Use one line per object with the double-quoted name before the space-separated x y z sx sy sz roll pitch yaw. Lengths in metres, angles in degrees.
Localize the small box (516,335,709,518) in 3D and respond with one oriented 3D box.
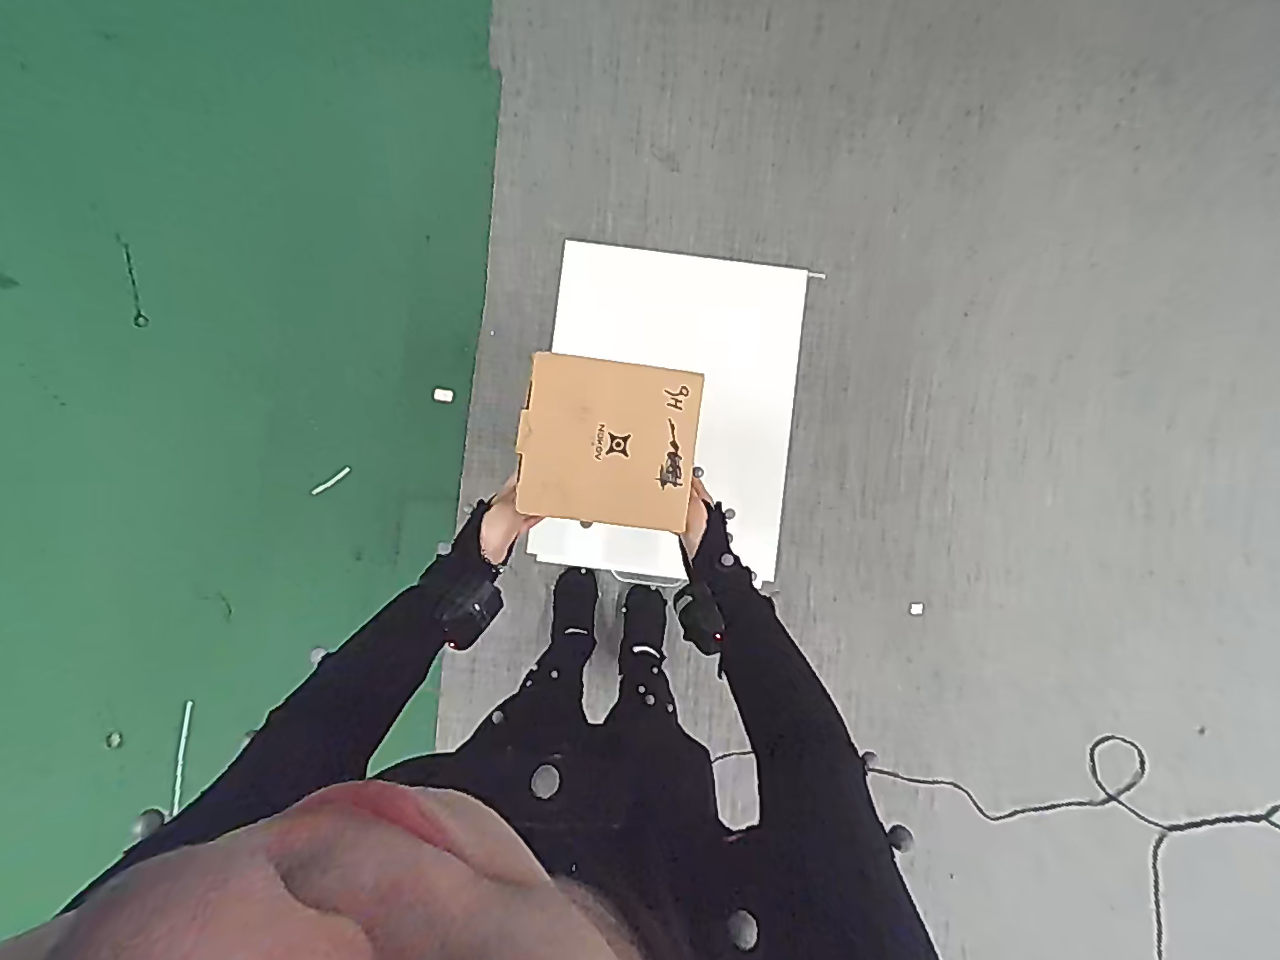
"small box" -0.029 -0.053 0.616 0.179 0.176 0.168 7 90 -2
